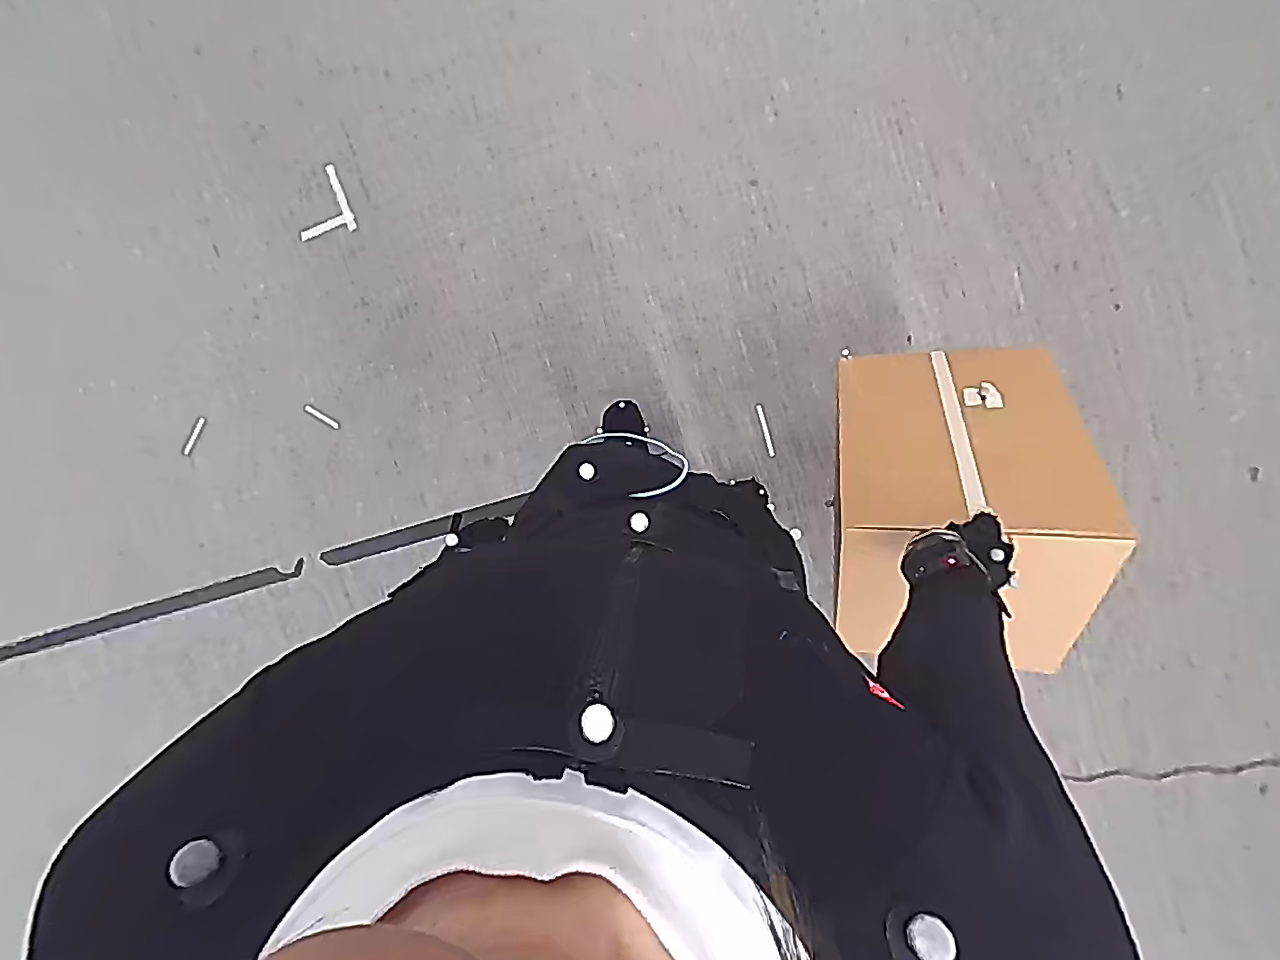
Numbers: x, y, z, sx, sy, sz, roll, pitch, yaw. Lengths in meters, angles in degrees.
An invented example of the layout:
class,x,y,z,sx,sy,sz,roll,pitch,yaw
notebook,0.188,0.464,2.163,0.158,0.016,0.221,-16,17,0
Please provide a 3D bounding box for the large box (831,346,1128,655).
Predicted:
class,x,y,z,sx,sy,sz,roll,pitch,yaw
large box,0.486,0.027,0.892,0.320,0.408,0.320,1,134,17
